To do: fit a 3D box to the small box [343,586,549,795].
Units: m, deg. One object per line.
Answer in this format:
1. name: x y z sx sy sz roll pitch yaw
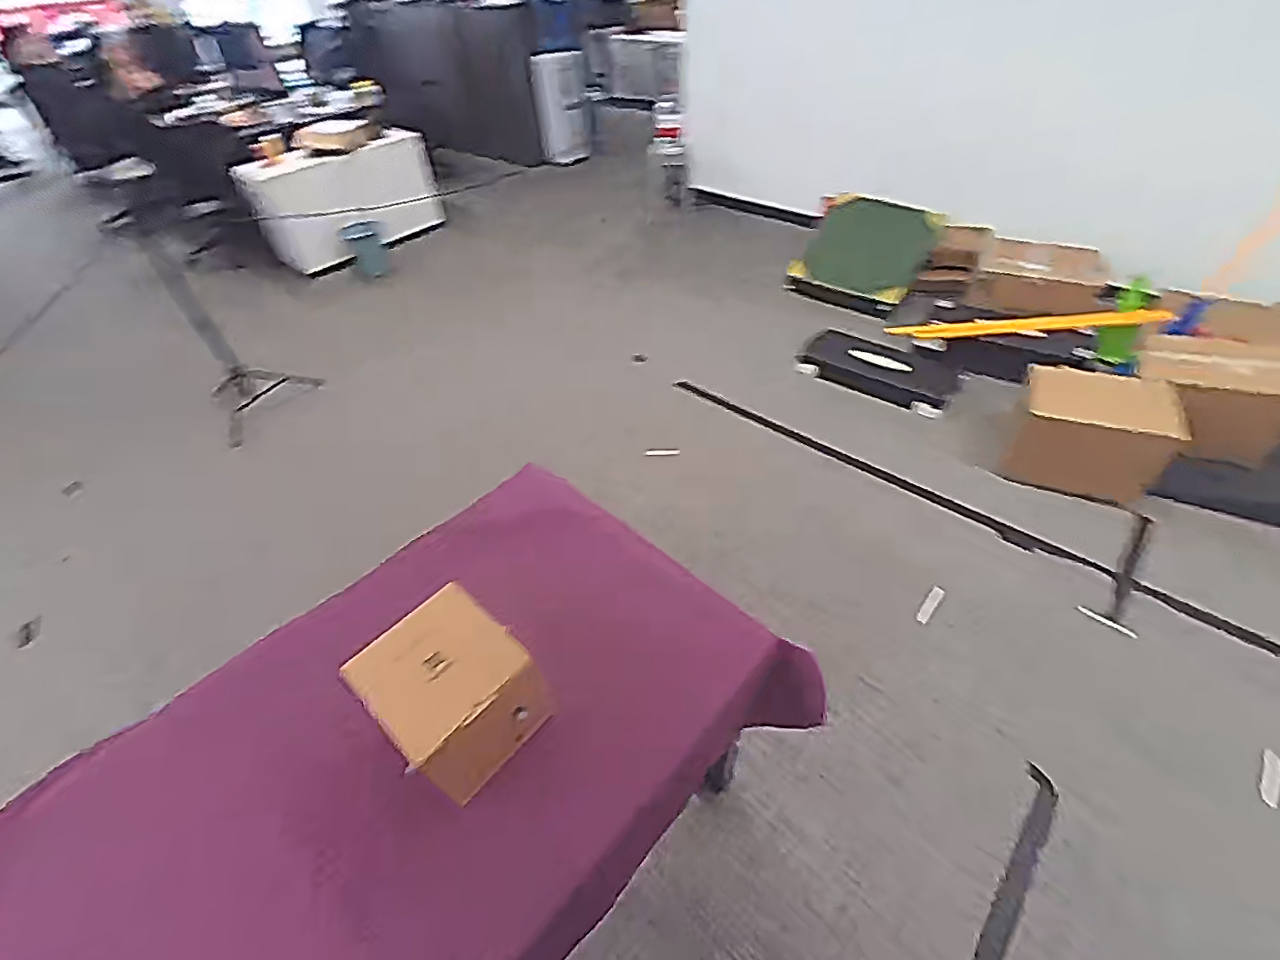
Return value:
1. small box: -0.244 0.283 0.718 0.179 0.176 0.168 30 55 30
